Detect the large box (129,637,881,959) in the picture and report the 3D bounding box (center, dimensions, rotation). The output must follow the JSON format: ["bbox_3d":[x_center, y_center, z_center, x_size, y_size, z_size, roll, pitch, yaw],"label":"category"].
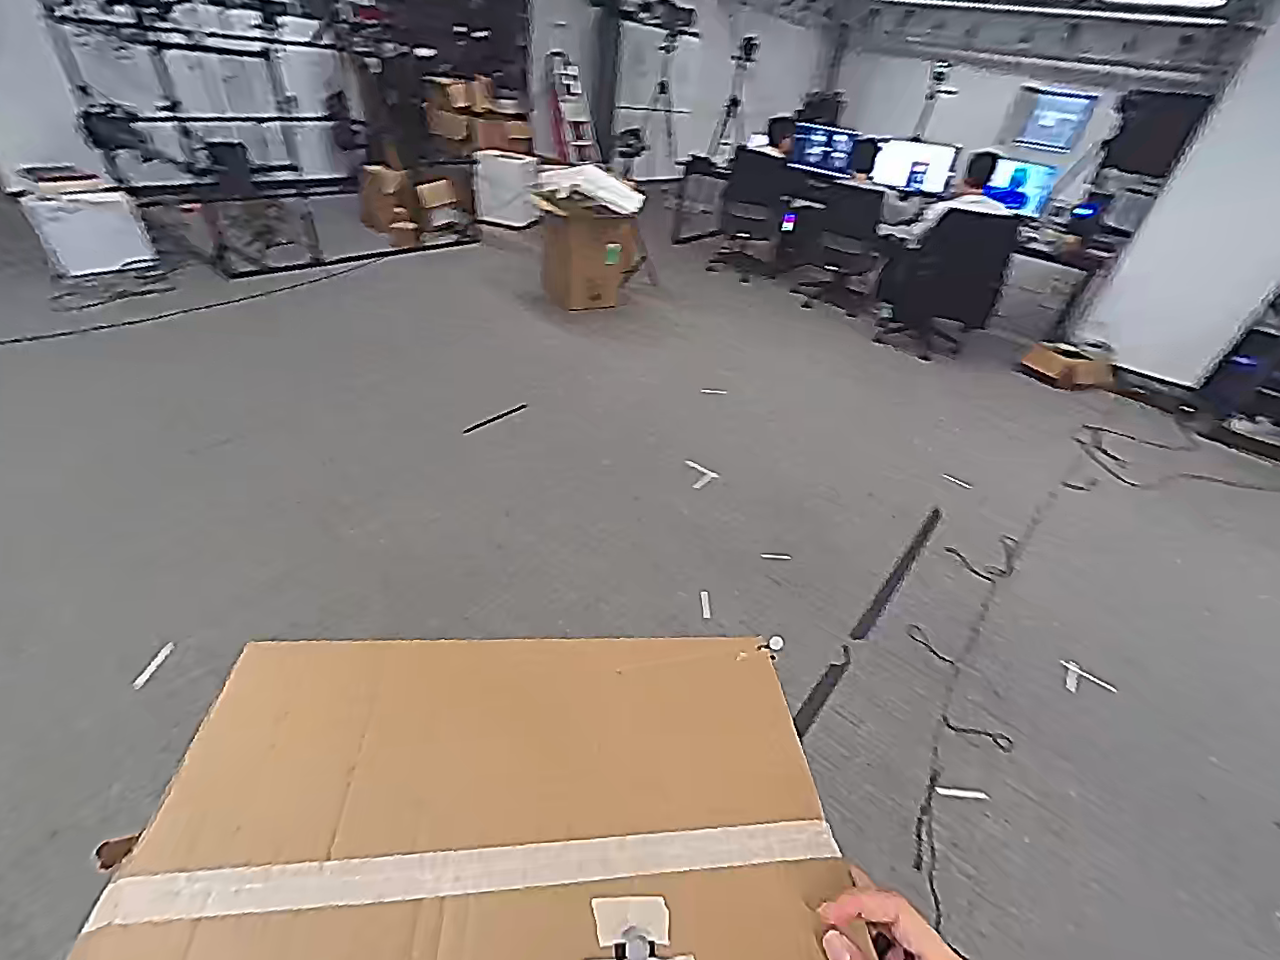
[{"bbox_3d":[-0.086,0.343,0.417,0.408,0.320,0.320,4,39,-10],"label":"large box"}]
